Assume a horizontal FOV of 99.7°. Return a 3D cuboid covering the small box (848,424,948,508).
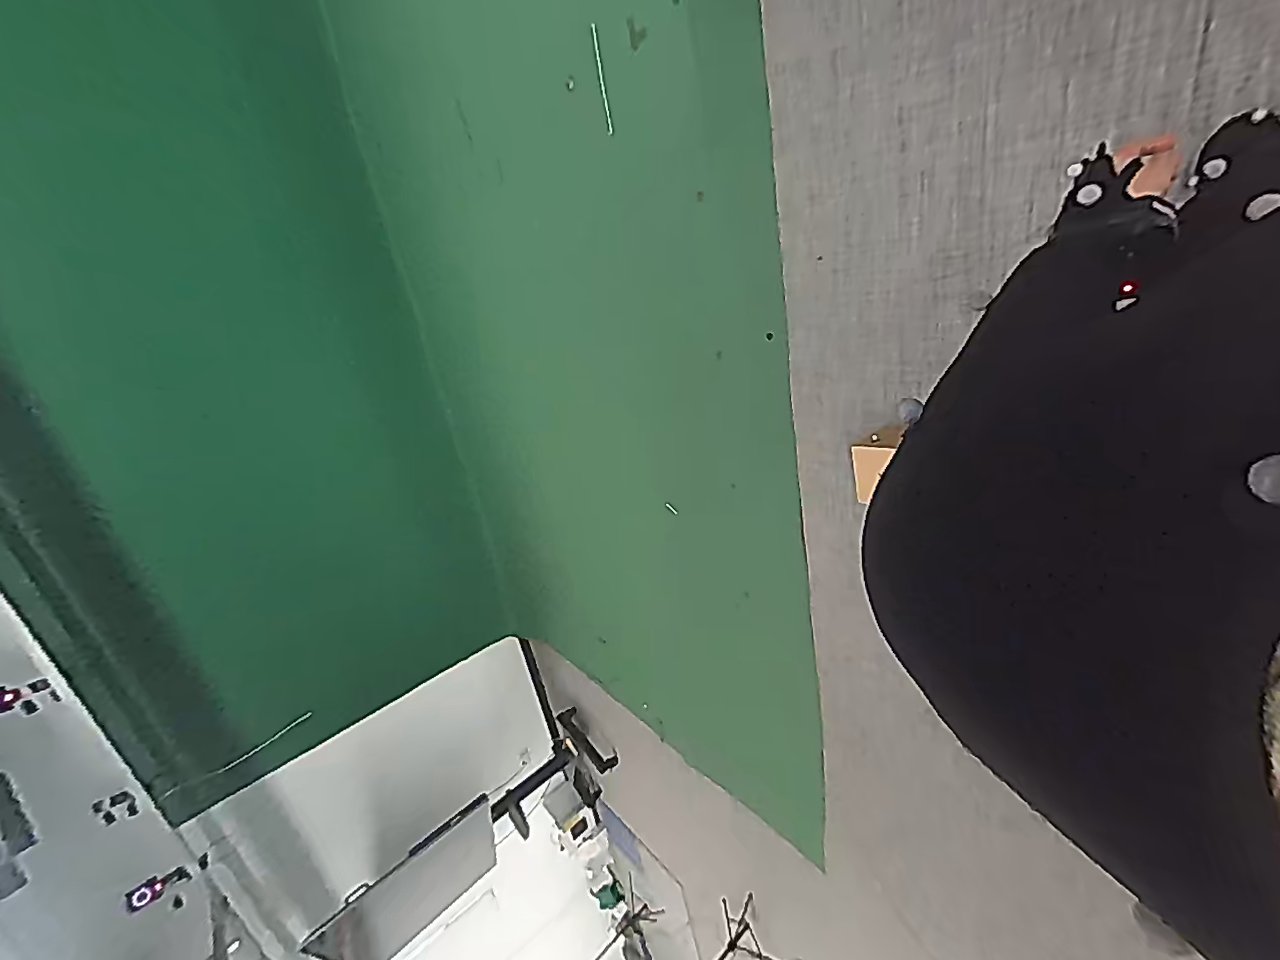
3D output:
[{"bbox_3d":[0.675,-0.044,1.414,0.179,0.176,0.168,9,119,52],"label":"small box"}]
